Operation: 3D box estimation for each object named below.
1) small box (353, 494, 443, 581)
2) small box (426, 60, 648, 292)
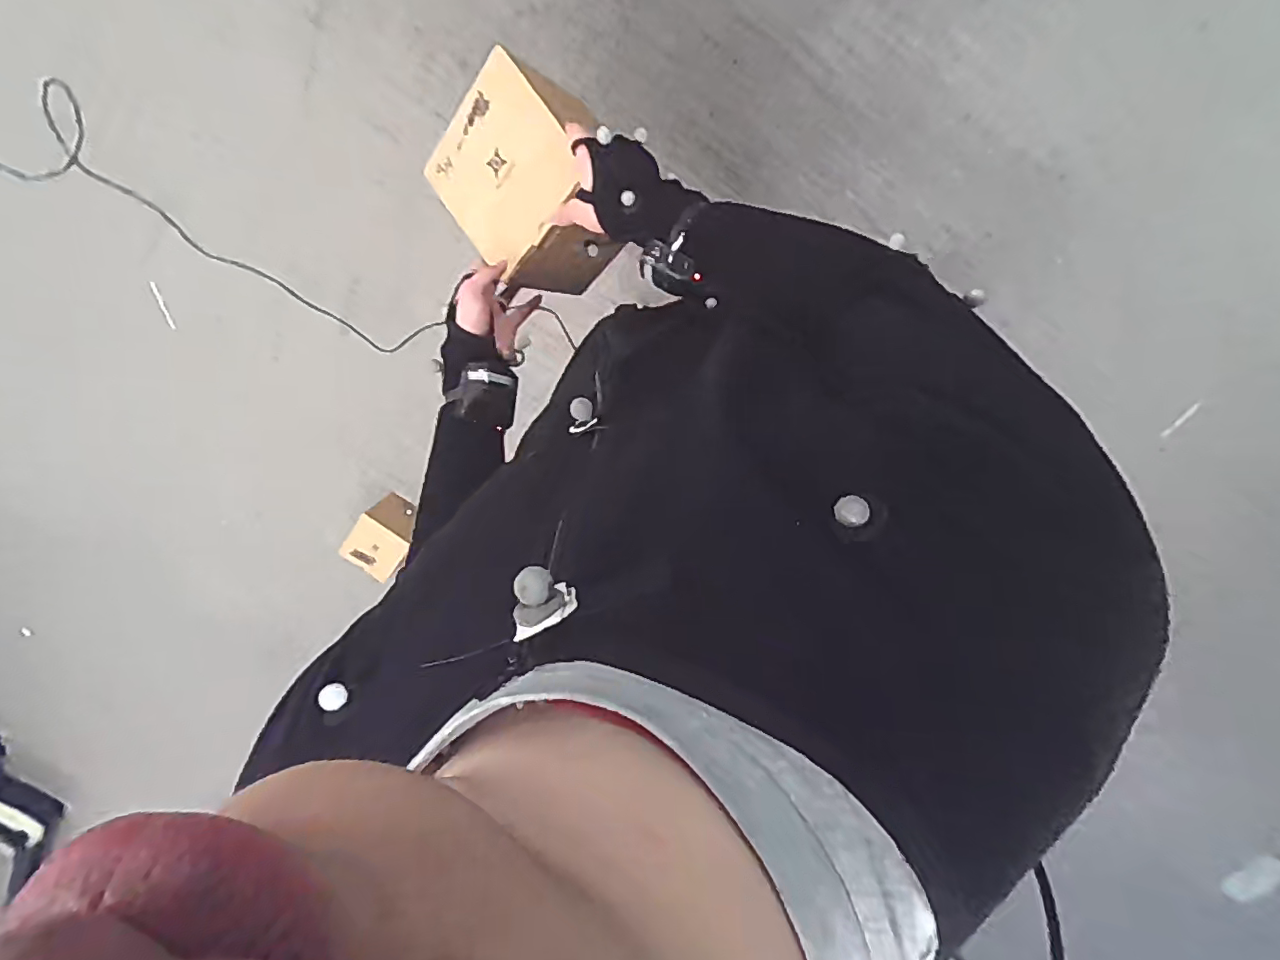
[{"bbox_3d":[-0.755,0.178,1.705,0.168,0.176,0.179,36,109,-8],"label":"small box"},{"bbox_3d":[-0.120,-0.357,0.676,0.168,0.176,0.179,-38,84,30],"label":"small box"}]
